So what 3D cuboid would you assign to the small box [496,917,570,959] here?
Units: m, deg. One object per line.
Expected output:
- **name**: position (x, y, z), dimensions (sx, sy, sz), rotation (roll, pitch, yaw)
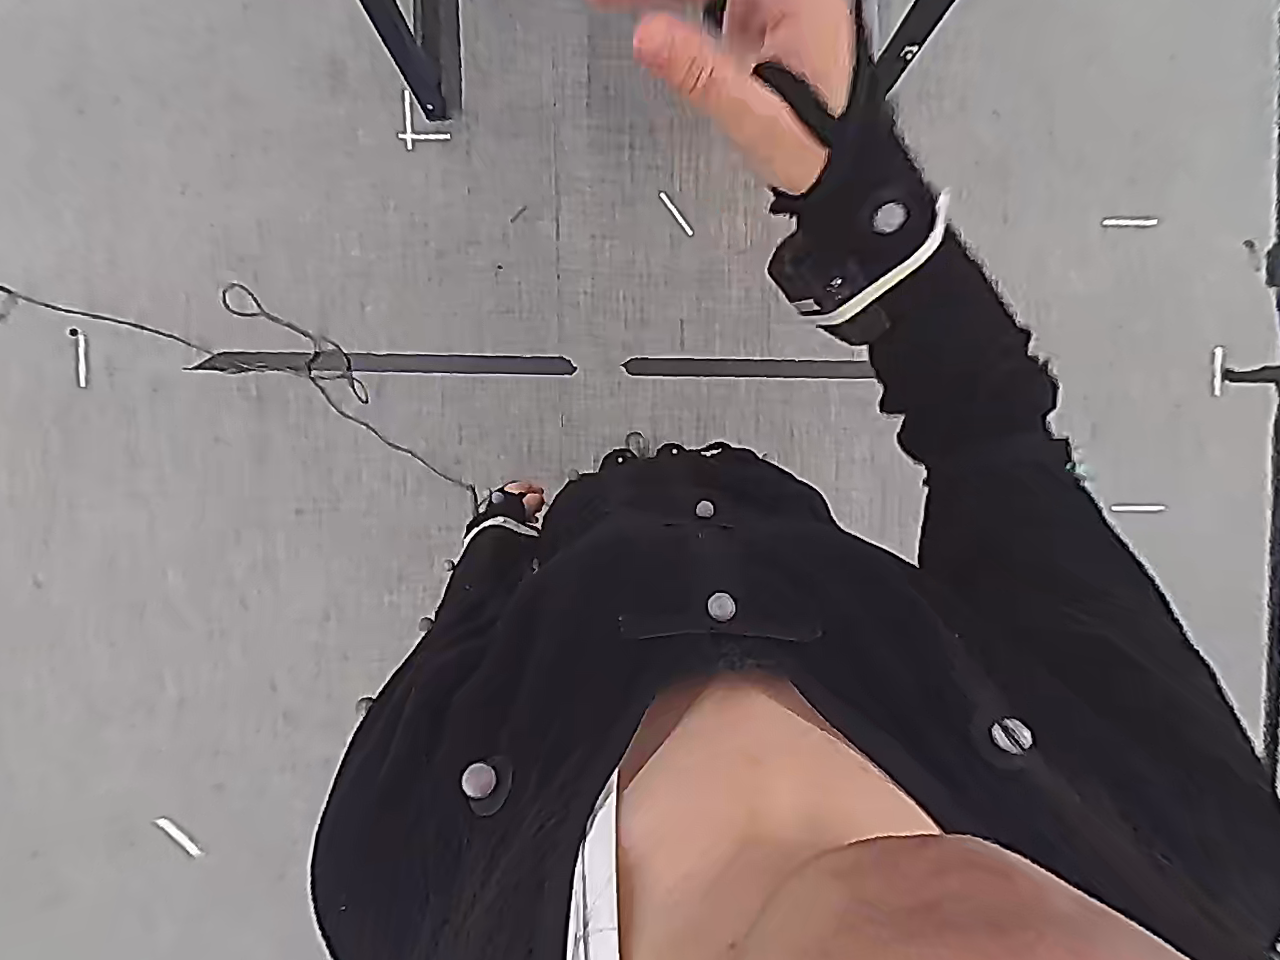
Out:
- **small box**: position (-0.288, 1.327, 1.453), dimensions (0.179, 0.176, 0.168), rotation (-7, 94, -3)
